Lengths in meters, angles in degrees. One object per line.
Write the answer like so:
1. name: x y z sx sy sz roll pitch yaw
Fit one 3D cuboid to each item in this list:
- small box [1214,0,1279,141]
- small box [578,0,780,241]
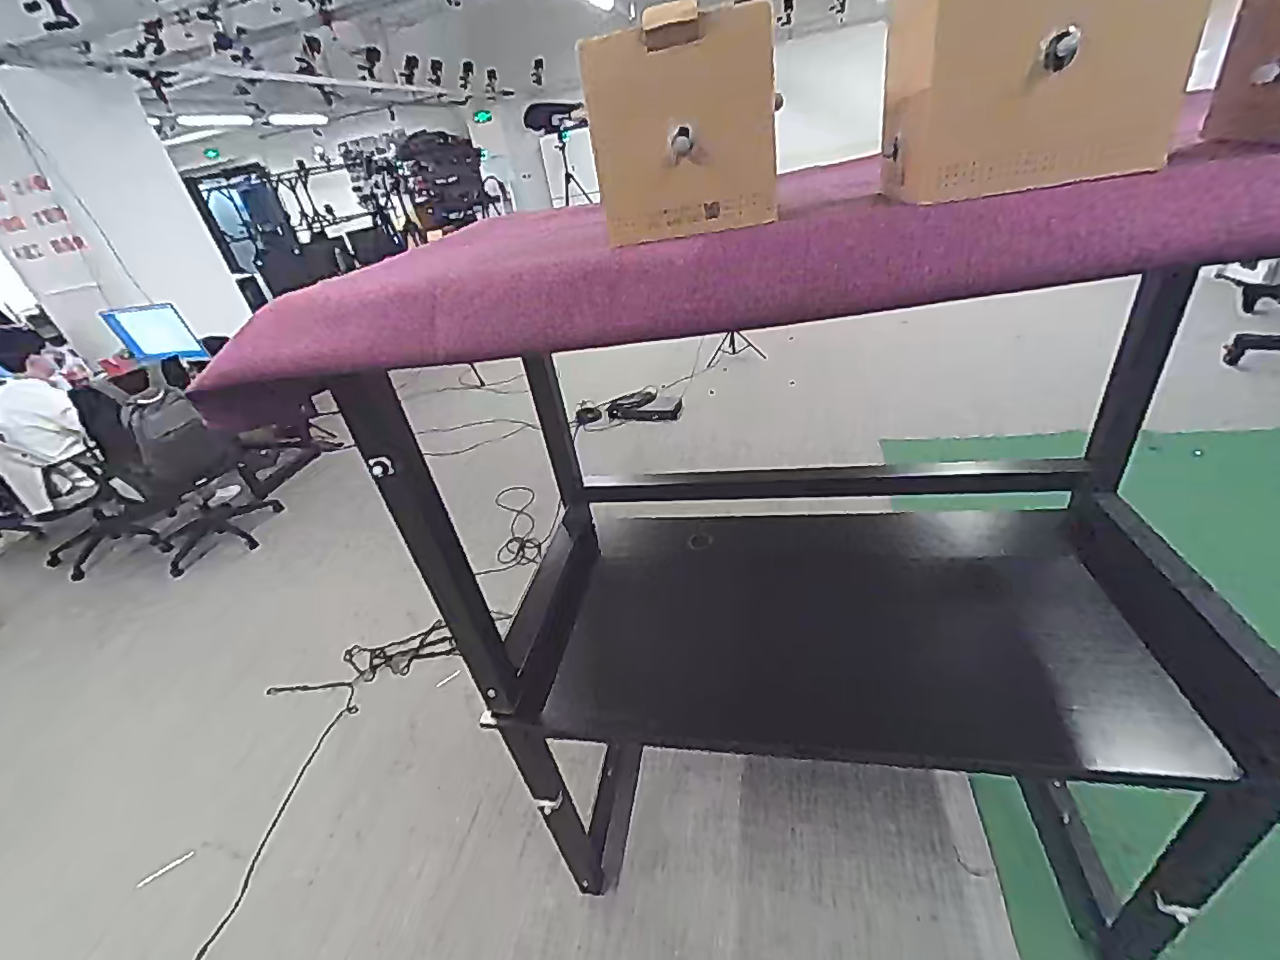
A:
1. small box: 0.589 -0.352 0.384 0.179 0.176 0.168 -3 32 16
2. small box: 0.050 -0.350 0.550 0.168 0.176 0.179 -4 31 11
